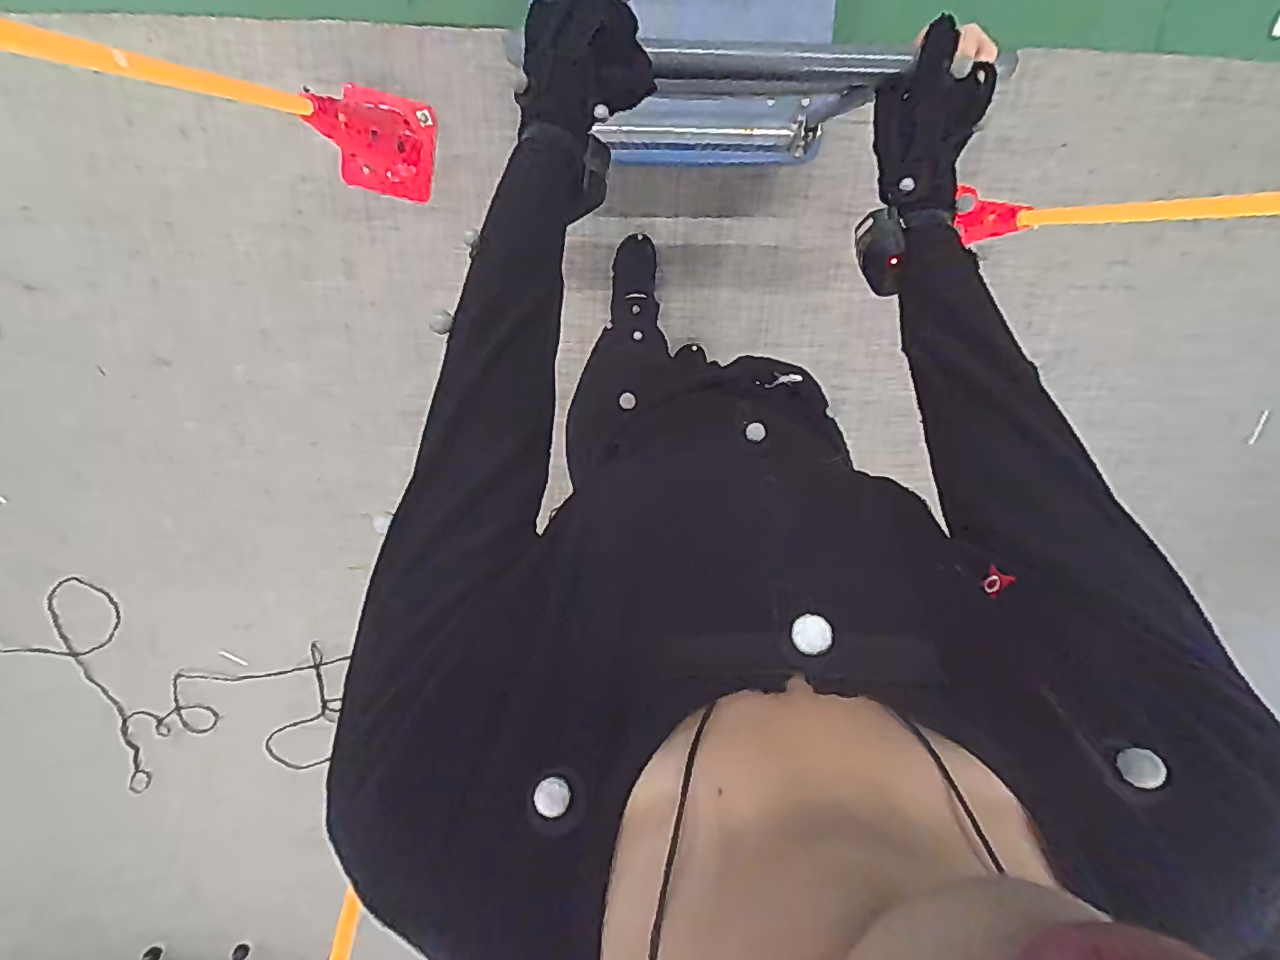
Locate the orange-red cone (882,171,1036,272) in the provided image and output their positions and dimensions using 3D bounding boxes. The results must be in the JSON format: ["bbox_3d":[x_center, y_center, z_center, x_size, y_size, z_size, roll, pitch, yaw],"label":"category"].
[{"bbox_3d":[0.718,-0.562,1.169,0.198,0.360,0.199,11,113,-7],"label":"orange-red cone"}]
